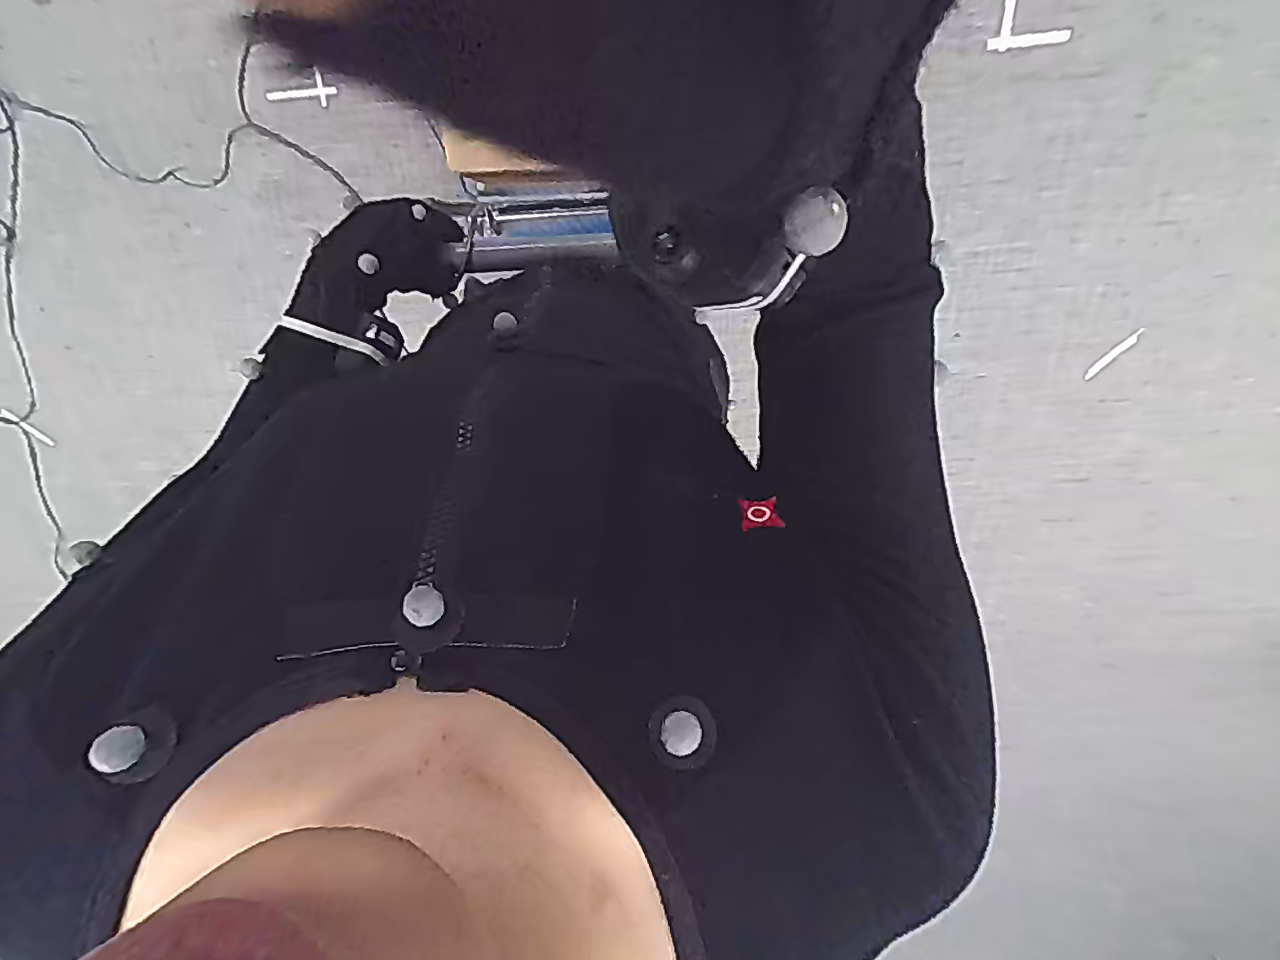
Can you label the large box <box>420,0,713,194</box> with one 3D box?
[{"bbox_3d":[-0.103,-0.667,0.888,0.408,0.320,0.320,-3,115,-1],"label":"large box"}]
